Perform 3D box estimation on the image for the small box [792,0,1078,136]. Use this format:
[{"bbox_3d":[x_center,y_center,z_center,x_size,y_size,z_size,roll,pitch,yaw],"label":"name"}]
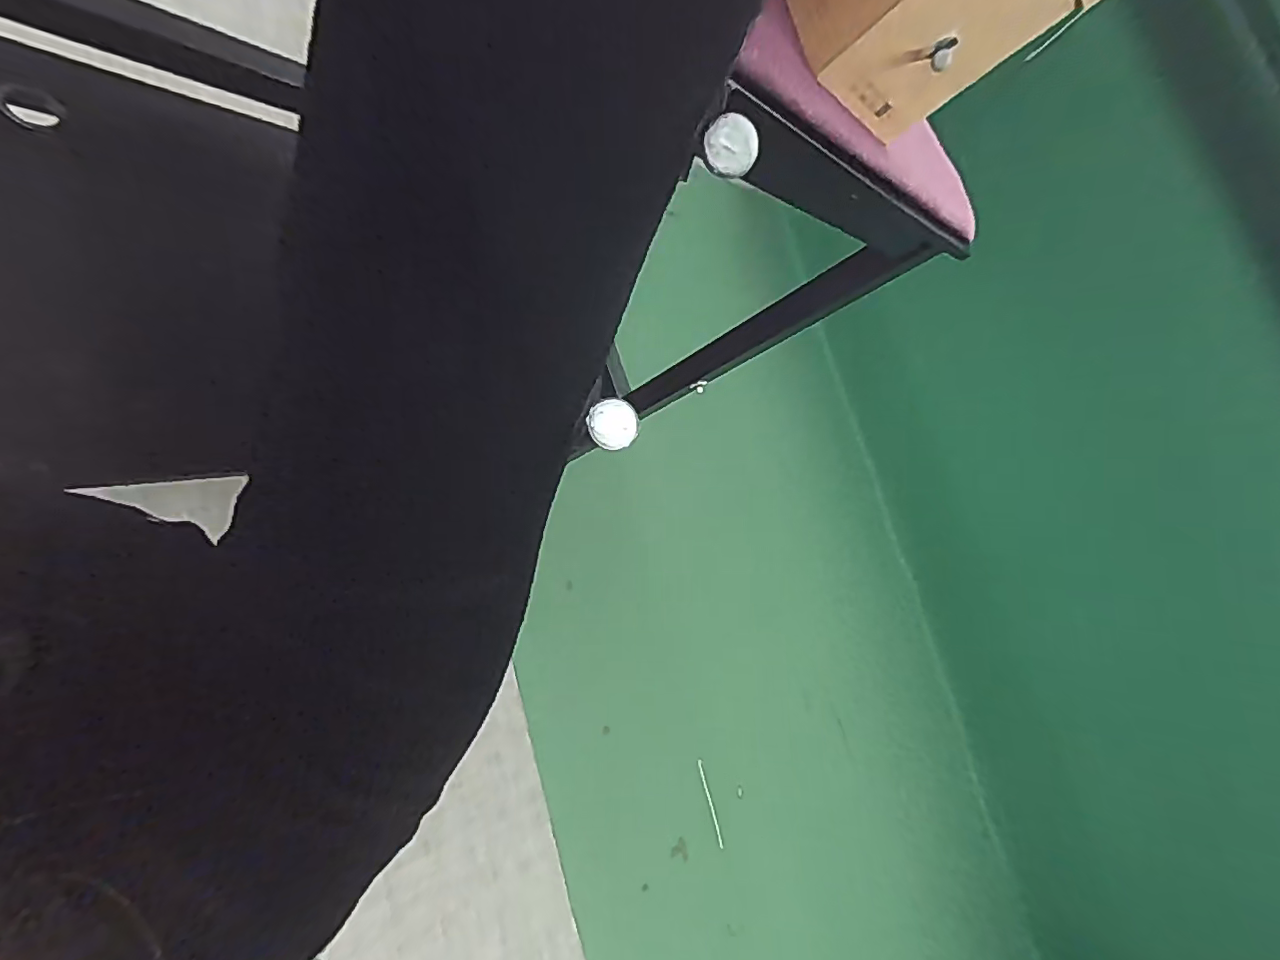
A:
[{"bbox_3d":[0.234,-0.445,0.462,0.168,0.176,0.179,-8,80,-46],"label":"small box"}]
